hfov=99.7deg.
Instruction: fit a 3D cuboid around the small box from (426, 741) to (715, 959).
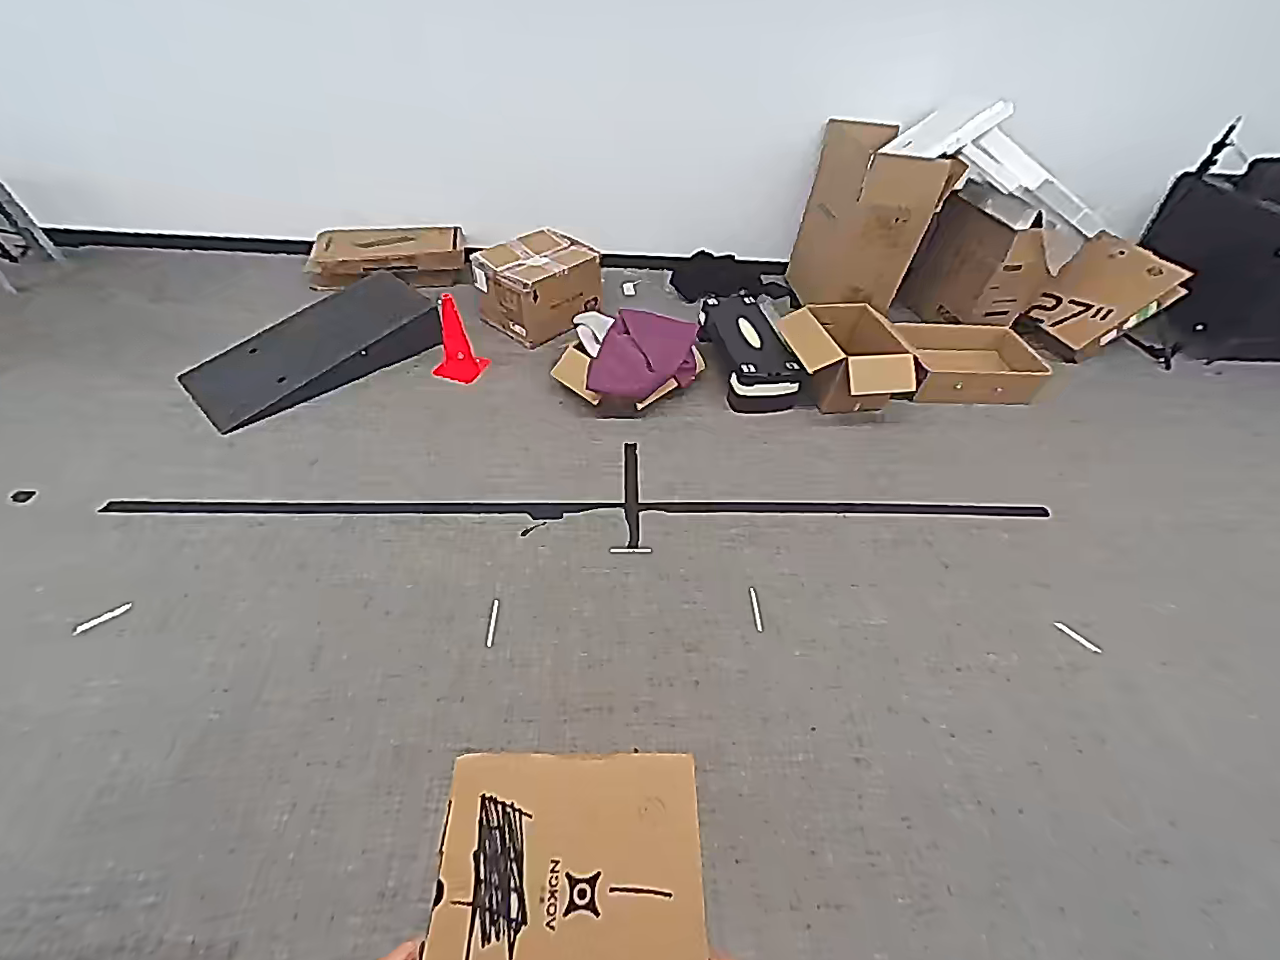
[{"bbox_3d":[-0.045,0.310,0.408,0.179,0.176,0.168,2,49,-3],"label":"small box"}]
